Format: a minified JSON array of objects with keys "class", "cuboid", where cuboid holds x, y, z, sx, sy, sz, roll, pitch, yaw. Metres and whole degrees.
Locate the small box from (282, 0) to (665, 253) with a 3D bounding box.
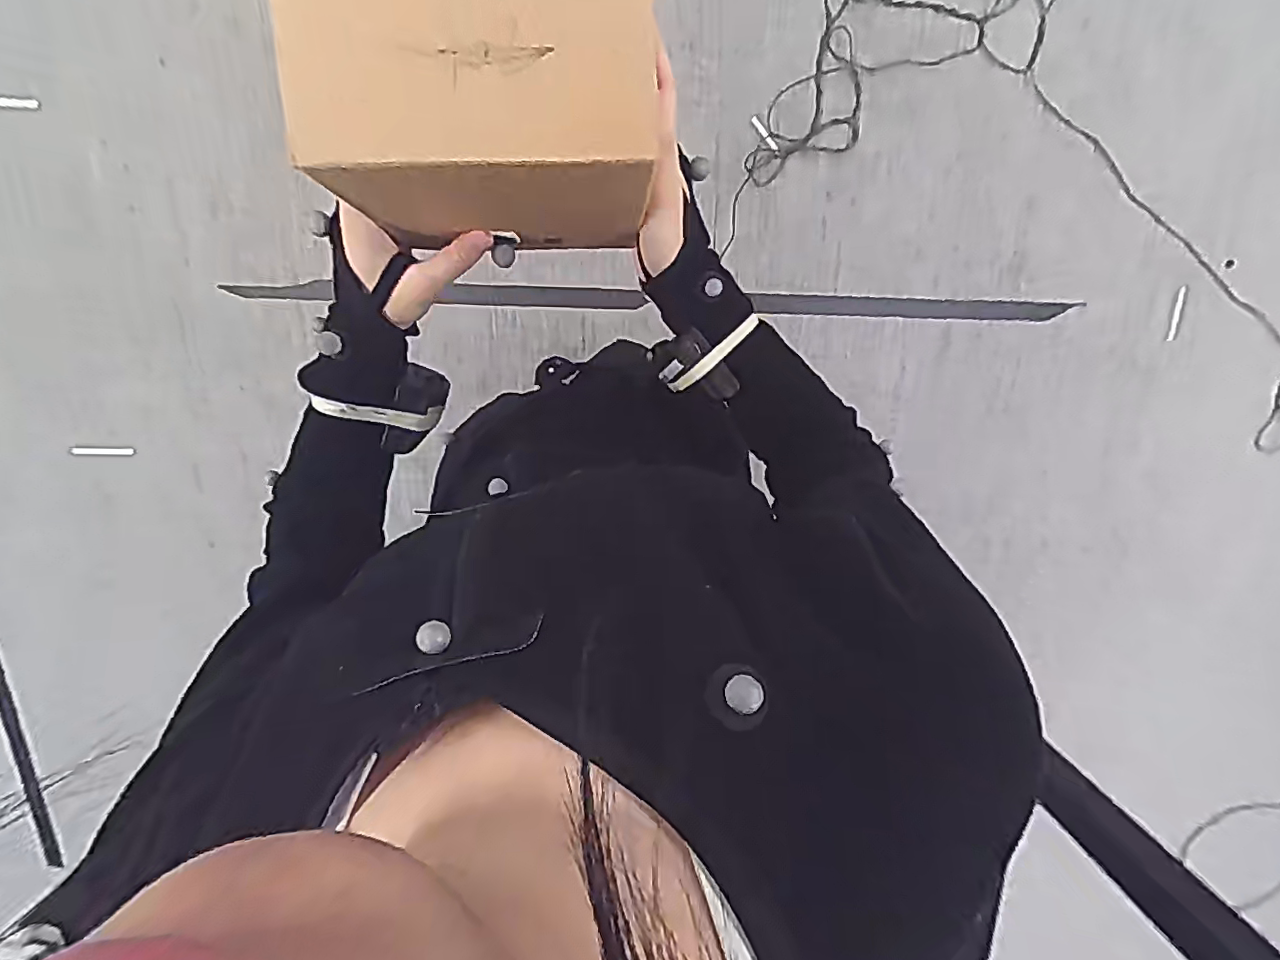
[{"class":"small box","cuboid":[-0.077,-0.243,0.310,0.168,0.176,0.179,-3,101,-3]}]
